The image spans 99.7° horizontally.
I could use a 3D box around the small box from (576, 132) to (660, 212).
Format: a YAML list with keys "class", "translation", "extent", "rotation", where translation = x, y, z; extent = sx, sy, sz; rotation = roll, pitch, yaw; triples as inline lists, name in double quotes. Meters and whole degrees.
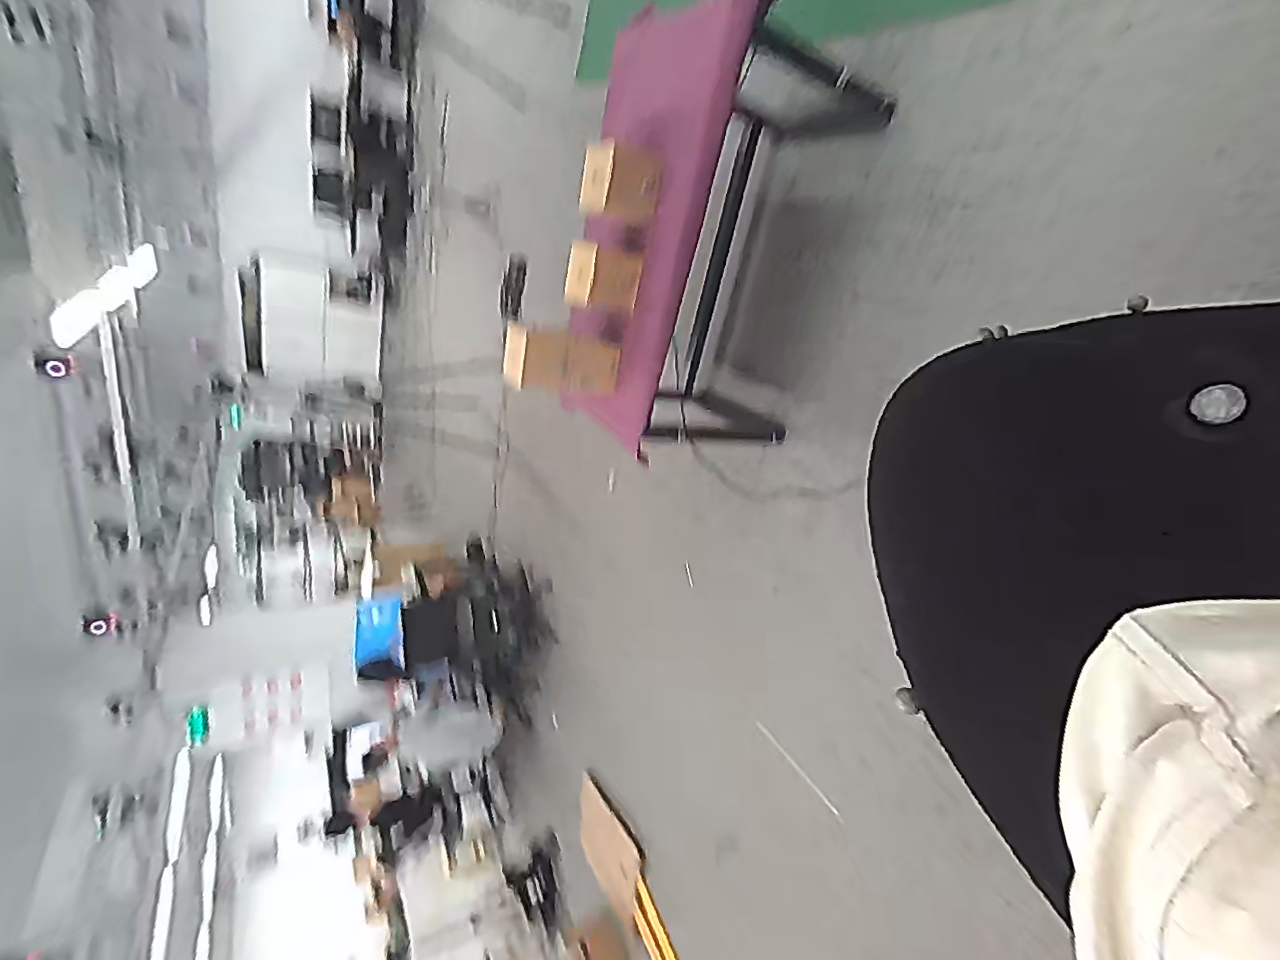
- class: "small box"
  translation: [-0.068, -0.903, 1.599]
  extent: [0.179, 0.176, 0.168]
  rotation: [36, 121, 49]

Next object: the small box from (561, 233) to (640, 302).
- class: "small box"
  translation: [-0.126, -0.664, 1.697]
  extent: [0.179, 0.176, 0.168]
  rotation: [37, 121, 48]

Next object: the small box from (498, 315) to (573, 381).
- class: "small box"
  translation: [-0.334, -0.415, 1.717]
  extent: [0.179, 0.176, 0.168]
  rotation: [37, 121, 49]
